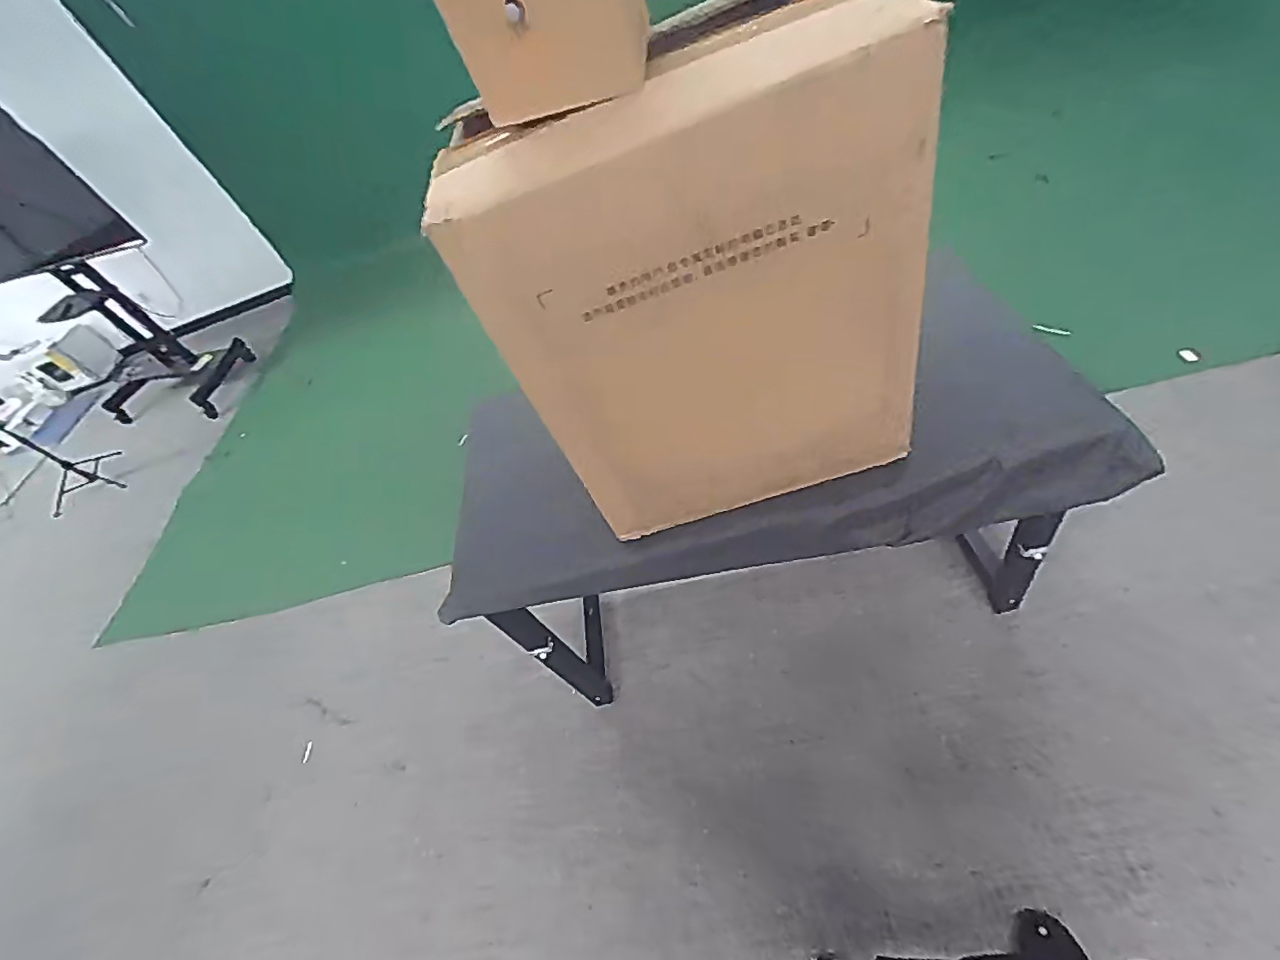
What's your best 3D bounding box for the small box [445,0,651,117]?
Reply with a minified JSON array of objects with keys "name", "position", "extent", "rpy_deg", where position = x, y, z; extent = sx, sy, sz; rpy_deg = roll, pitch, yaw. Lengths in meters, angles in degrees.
[{"name":"small box","position":[-0.098,-0.517,0.559],"extent":[0.179,0.176,0.168],"rpy_deg":[-5,63,15]}]
